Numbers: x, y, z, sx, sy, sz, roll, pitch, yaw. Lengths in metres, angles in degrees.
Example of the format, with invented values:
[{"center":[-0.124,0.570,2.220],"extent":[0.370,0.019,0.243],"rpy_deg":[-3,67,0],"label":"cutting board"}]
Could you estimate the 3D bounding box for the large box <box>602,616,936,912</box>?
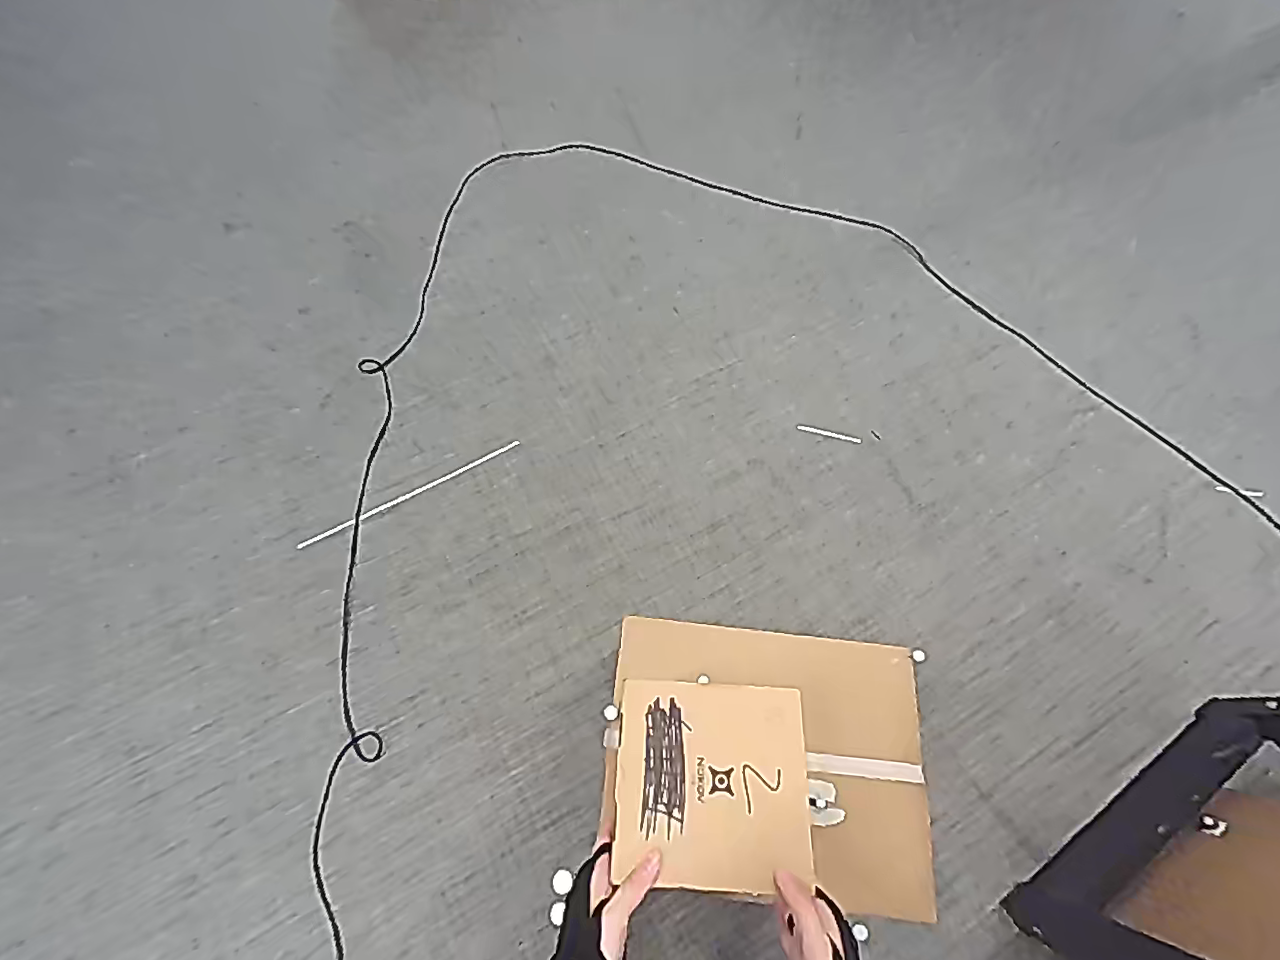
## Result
[{"center":[0.159,0.407,0.829],"extent":[0.408,0.320,0.320],"rpy_deg":[6,68,1],"label":"large box"}]
